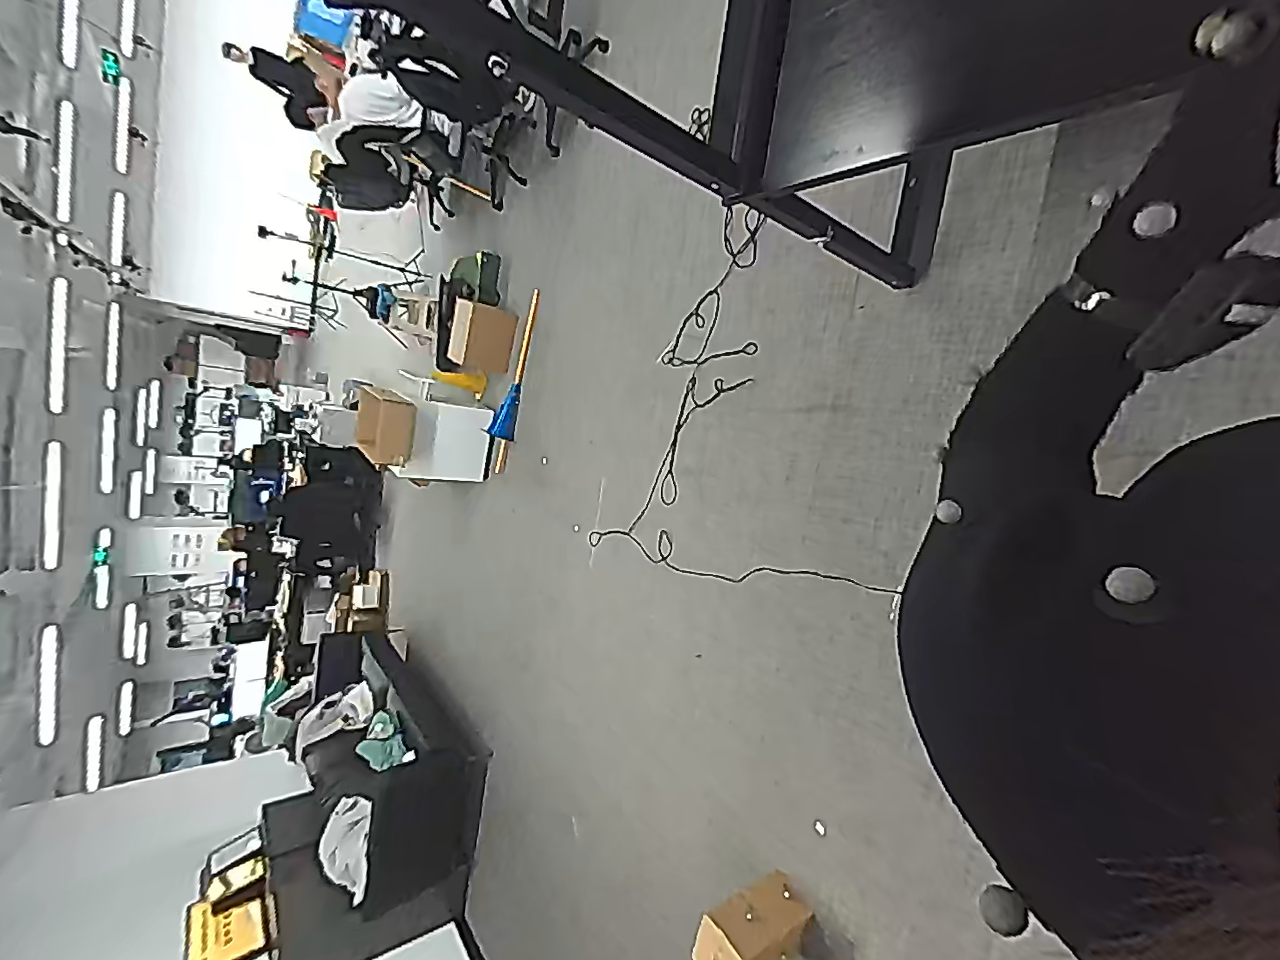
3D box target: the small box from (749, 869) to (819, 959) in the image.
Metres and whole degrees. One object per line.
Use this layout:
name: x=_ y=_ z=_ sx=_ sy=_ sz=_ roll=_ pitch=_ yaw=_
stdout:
small box: x=0.441 y=1.401 z=1.722 sx=0.168 sy=0.176 sz=0.179 roll=27 pitch=108 yaw=48

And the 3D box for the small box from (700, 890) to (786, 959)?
small box: x=0.311 y=1.396 z=1.621 sx=0.168 sy=0.176 sz=0.179 roll=24 pitch=106 yaw=48
